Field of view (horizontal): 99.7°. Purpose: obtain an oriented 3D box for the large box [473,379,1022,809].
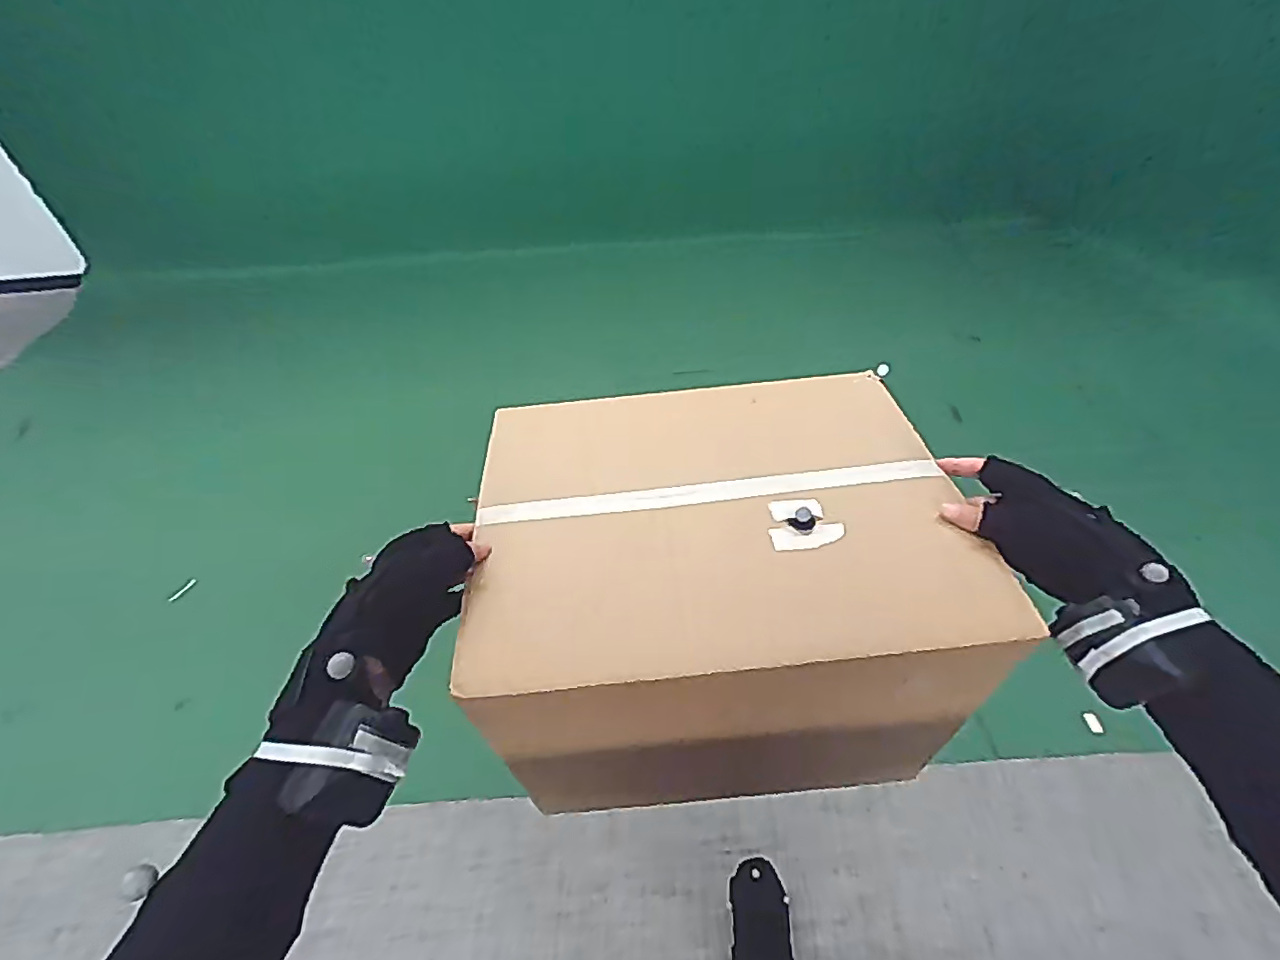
[{"bbox_3d":[0.074,0.124,0.589,0.408,0.320,0.320,-7,46,0],"label":"large box"}]
